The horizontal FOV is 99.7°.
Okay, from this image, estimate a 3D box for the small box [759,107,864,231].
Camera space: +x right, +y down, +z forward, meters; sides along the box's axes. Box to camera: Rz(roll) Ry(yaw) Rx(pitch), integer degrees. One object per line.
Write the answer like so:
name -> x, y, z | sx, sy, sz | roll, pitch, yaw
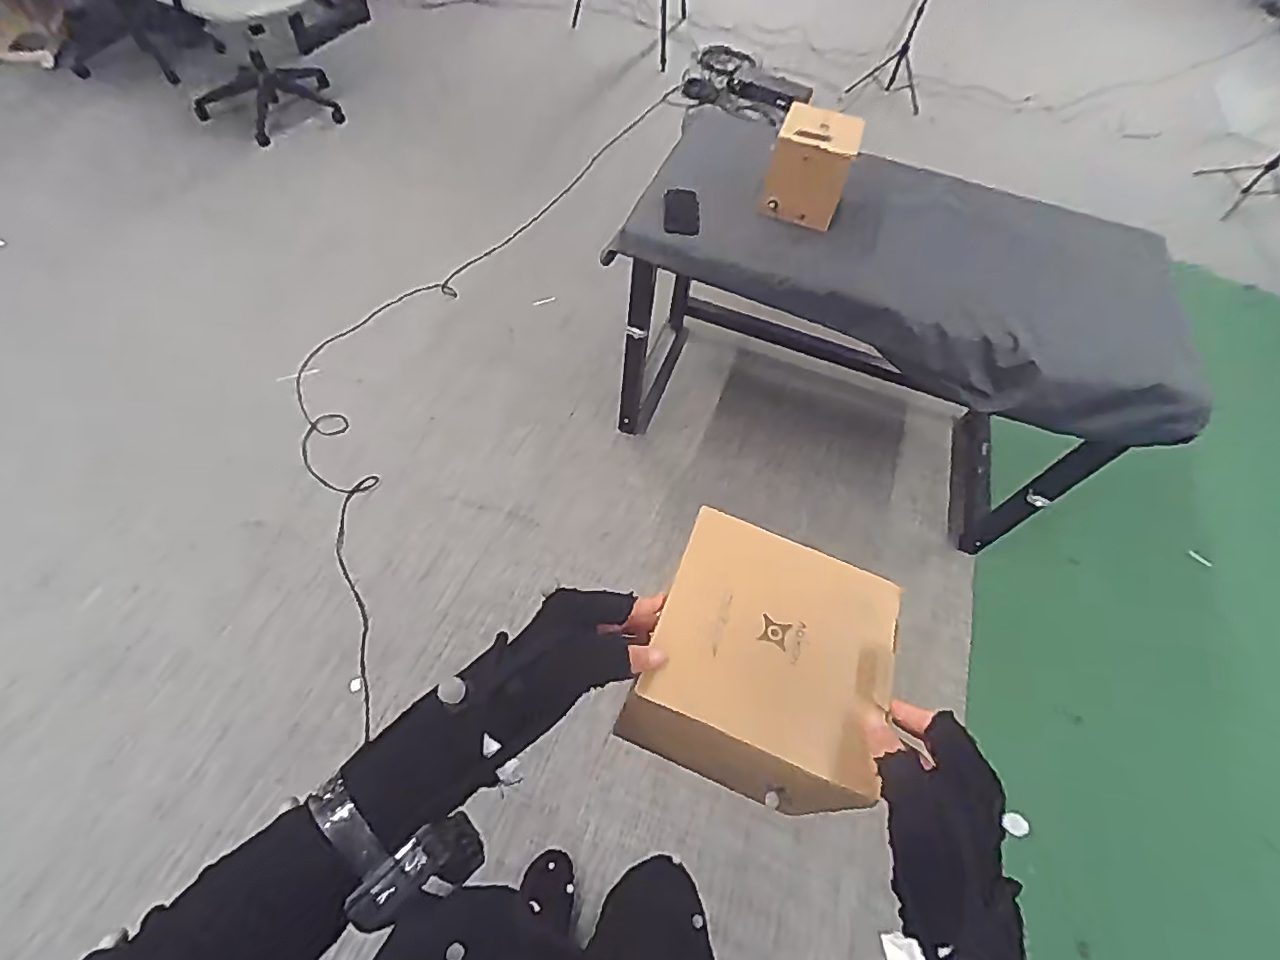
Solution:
small box -> 0.379, -0.693, 1.214 | 0.168, 0.176, 0.179 | 20, 57, 6
